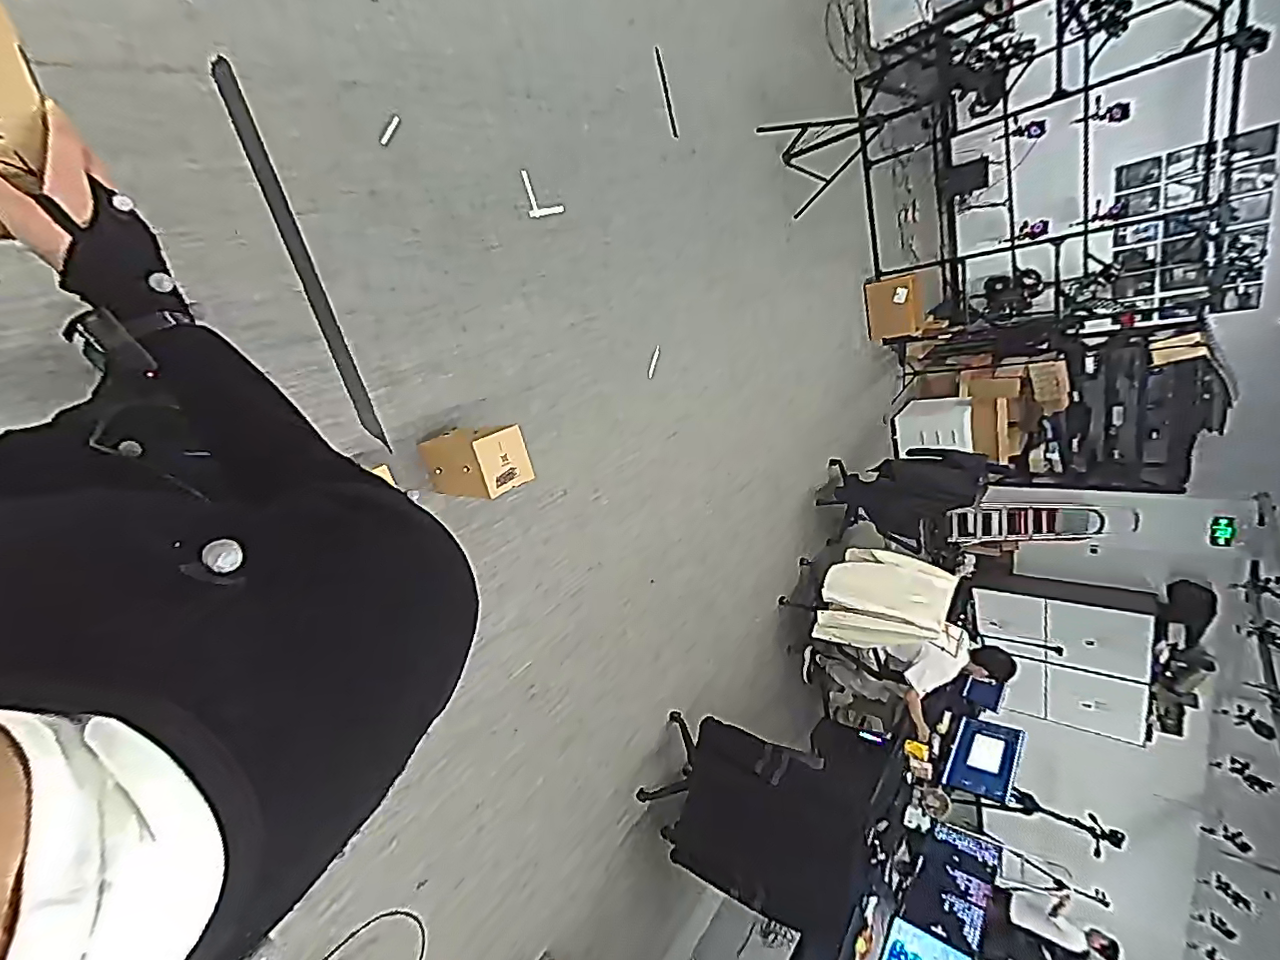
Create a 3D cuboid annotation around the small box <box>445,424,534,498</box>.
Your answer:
[{"bbox_3d":[-0.452,-0.059,1.619,0.168,0.176,0.179,-31,114,-43],"label":"small box"}]

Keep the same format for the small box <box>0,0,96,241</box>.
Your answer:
[{"bbox_3d":[-0.586,-0.274,0.416,0.179,0.176,0.168,-32,129,-47],"label":"small box"}]
